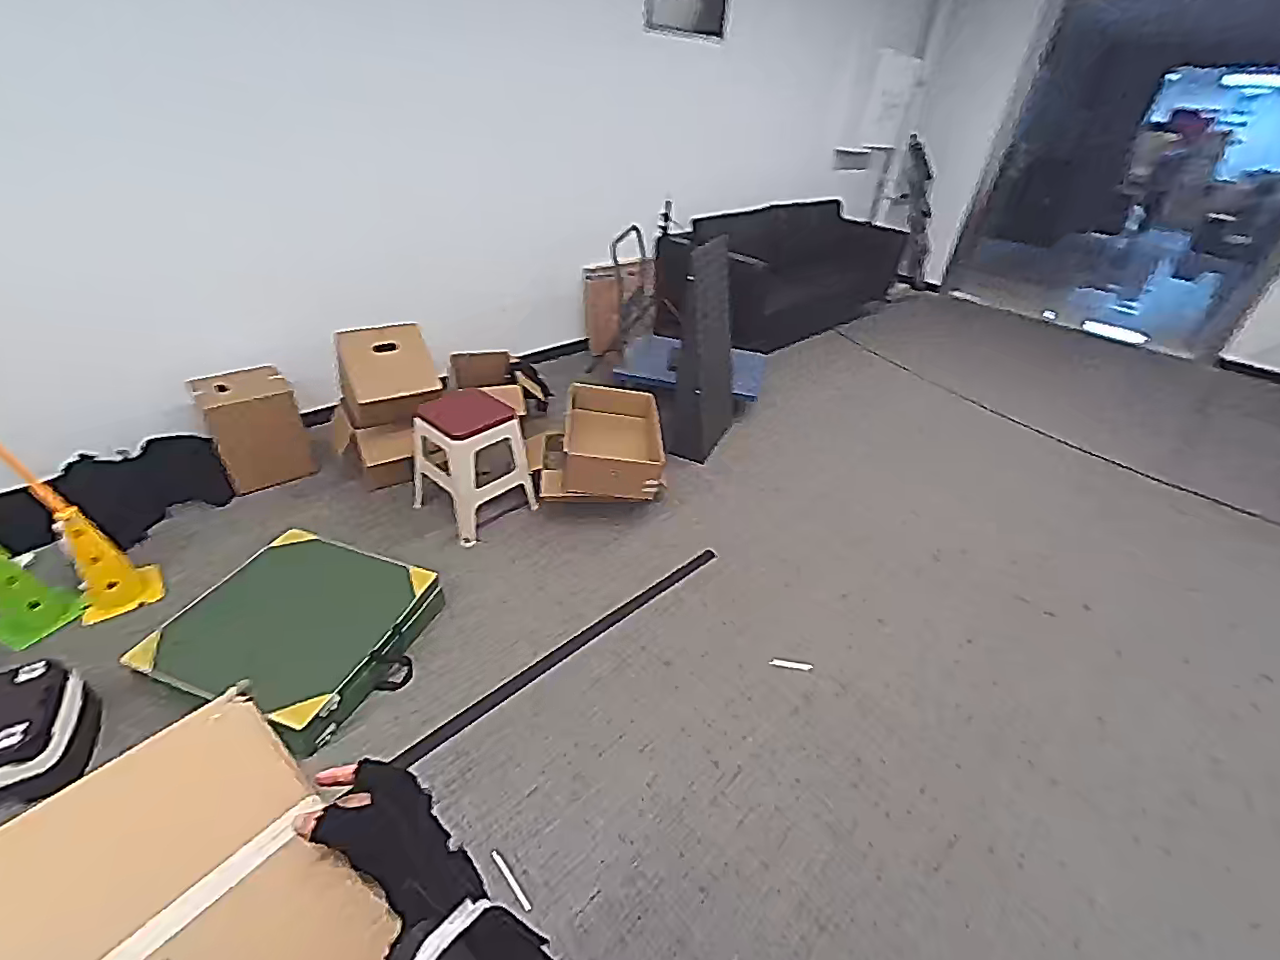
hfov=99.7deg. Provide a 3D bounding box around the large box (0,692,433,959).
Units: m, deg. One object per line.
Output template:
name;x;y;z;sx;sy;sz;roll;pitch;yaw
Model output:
large box;-0.425;0.479;0.433;0.320;0.320;0.408;33;42;23
